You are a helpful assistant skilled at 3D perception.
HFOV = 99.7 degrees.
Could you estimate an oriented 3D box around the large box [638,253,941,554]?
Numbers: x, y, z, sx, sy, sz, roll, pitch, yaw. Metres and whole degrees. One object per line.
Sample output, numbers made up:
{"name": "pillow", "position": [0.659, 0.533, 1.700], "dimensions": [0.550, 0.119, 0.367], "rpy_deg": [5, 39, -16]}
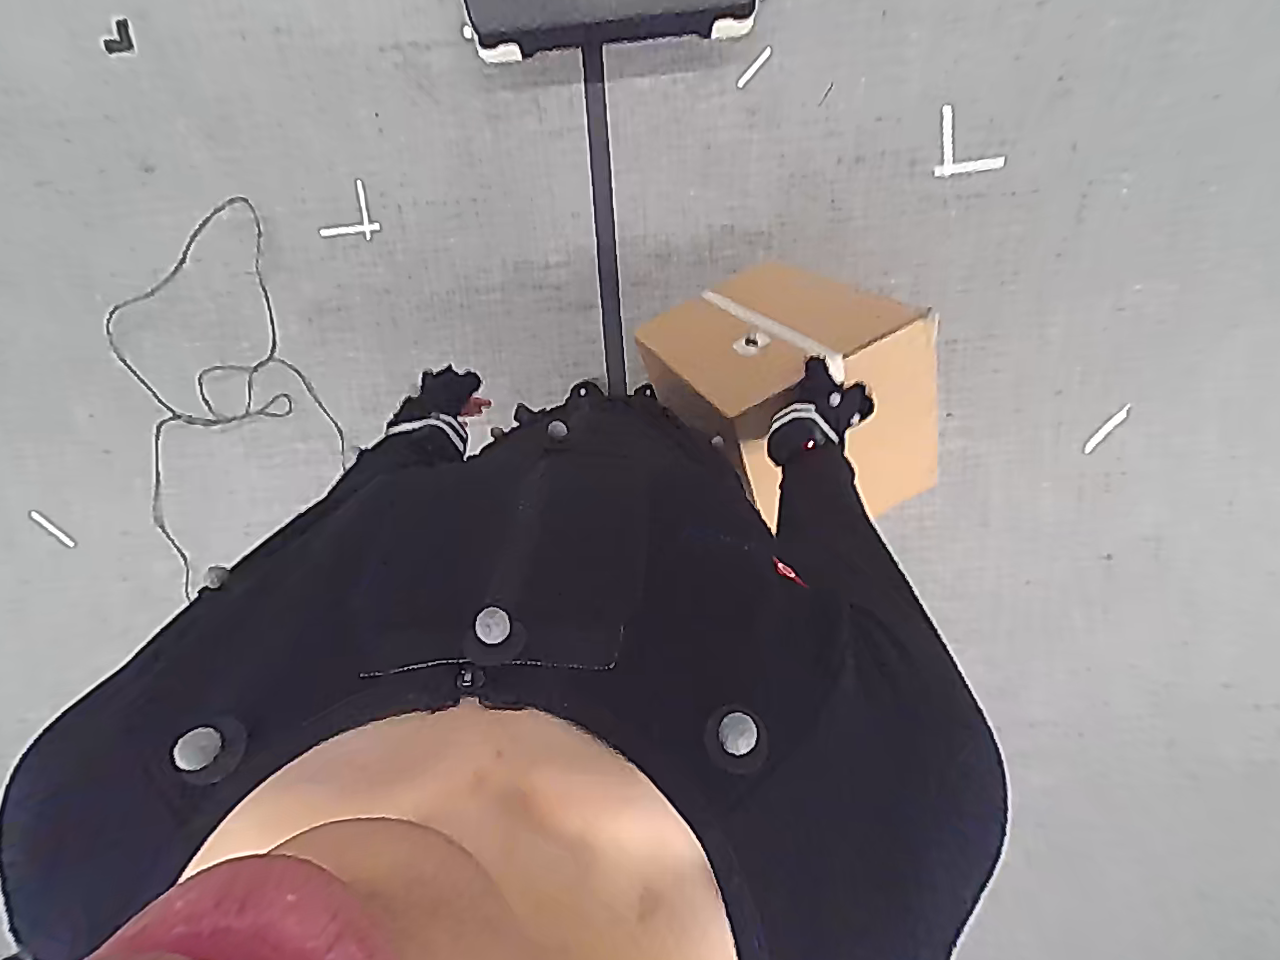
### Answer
{"name": "large box", "position": [0.242, -0.152, 0.944], "dimensions": [0.320, 0.408, 0.320], "rpy_deg": [-28, 128, -4]}
